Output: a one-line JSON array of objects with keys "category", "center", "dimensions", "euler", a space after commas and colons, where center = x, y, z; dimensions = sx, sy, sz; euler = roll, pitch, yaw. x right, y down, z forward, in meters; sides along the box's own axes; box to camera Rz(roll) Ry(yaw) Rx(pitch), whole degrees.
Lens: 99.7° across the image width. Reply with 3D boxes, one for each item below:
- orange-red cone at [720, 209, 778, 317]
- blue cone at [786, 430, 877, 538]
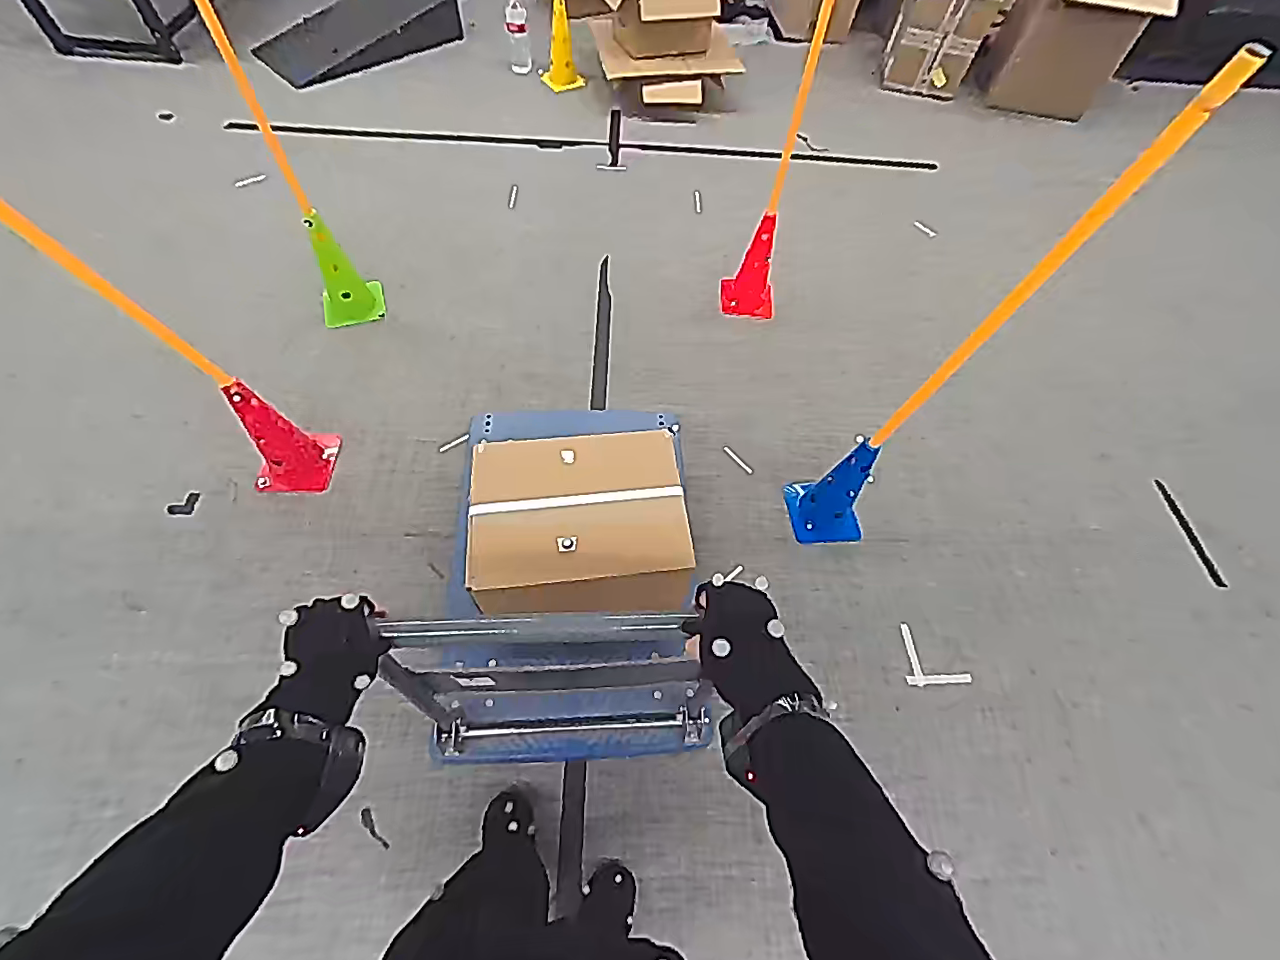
[{"category": "orange-red cone", "center": [0.422, -0.787, 1.916], "dimensions": [0.199, 0.360, 0.198], "euler": [8, 59, -1]}, {"category": "blue cone", "center": [0.554, -0.002, 1.473], "dimensions": [0.193, 0.380, 0.192], "euler": [-2, 58, -6]}]
